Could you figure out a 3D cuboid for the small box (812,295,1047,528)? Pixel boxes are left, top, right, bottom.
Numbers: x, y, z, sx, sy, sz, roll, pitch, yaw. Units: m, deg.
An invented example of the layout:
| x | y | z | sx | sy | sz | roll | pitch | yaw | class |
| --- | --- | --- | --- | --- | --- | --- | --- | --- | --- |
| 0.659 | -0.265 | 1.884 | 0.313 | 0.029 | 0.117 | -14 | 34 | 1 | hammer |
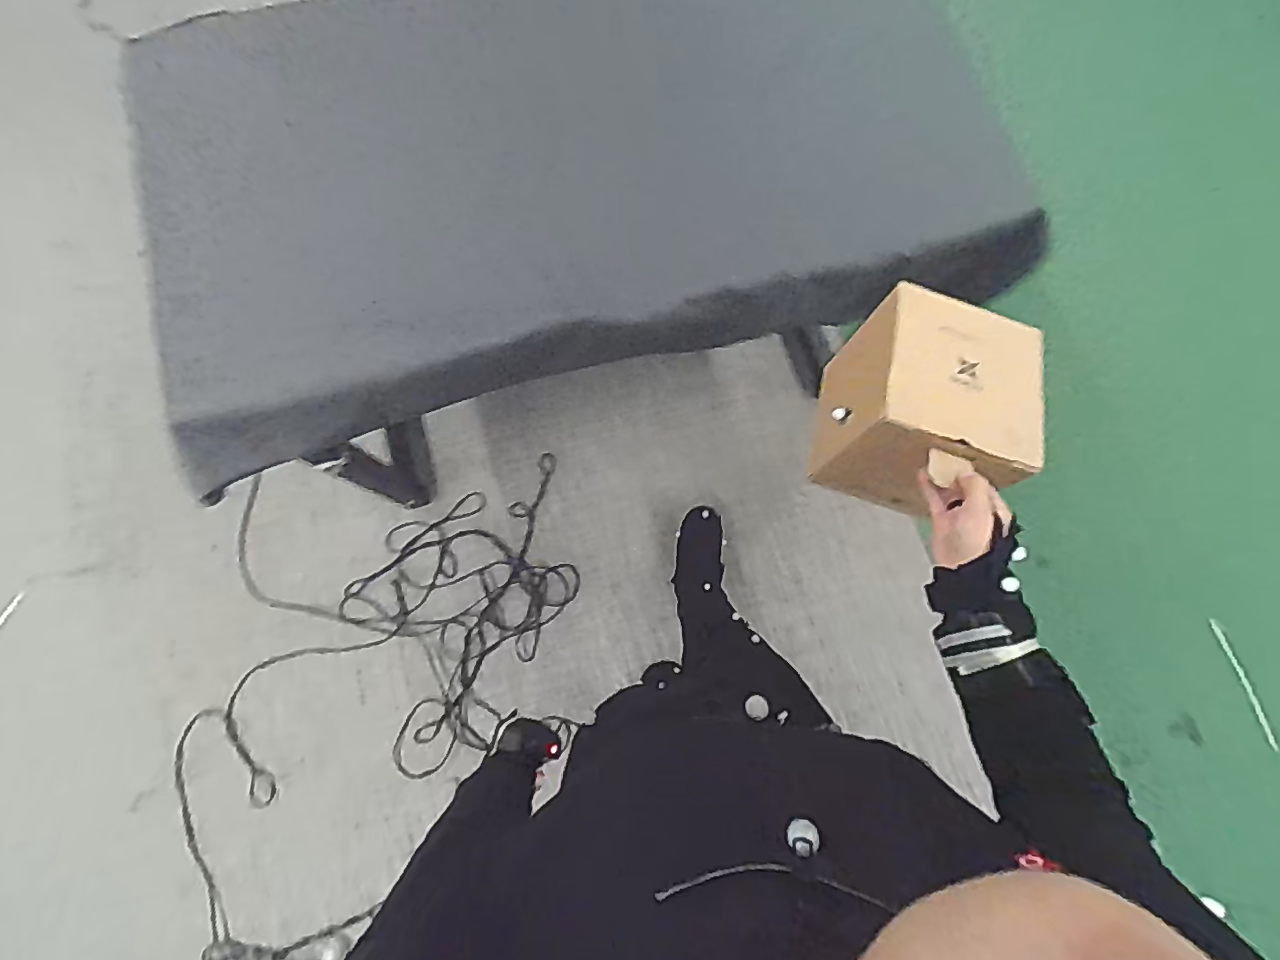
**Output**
| x | y | z | sx | sy | sz | roll | pitch | yaw | class |
| --- | --- | --- | --- | --- | --- | --- | --- | --- | --- |
| 0.312 | -0.064 | 0.609 | 0.168 | 0.176 | 0.179 | 19 | 66 | -3 | small box |
